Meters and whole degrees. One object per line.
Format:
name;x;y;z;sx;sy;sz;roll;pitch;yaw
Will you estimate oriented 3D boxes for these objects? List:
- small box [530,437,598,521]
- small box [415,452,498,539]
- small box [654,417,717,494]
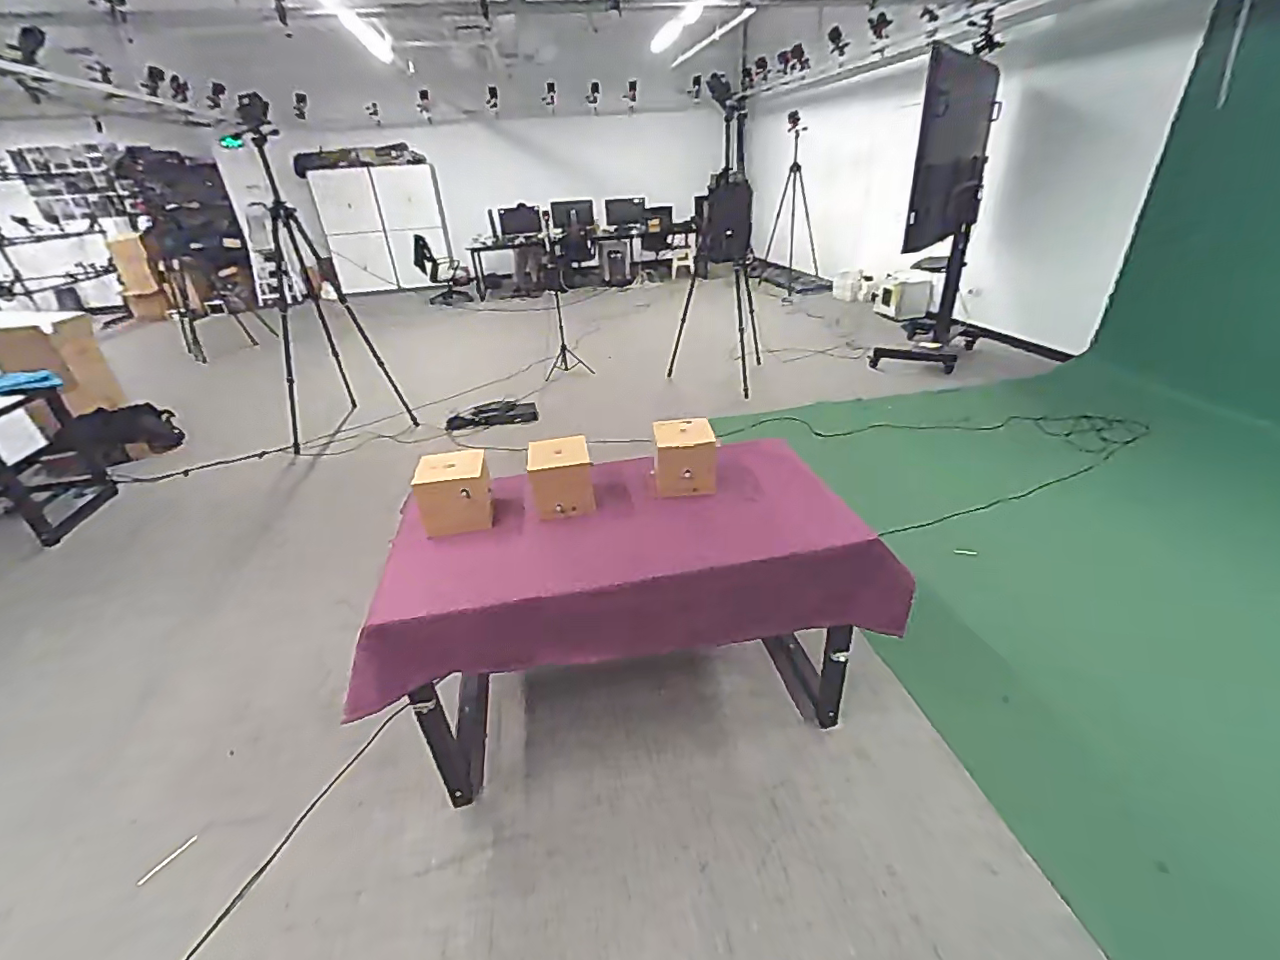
small box;-0.214;-0.004;1.533;0.168;0.176;0.179;-9;30;-5
small box;-0.495;0.042;1.492;0.179;0.176;0.168;-8;30;-6
small box;0.133;-0.068;1.586;0.168;0.176;0.179;-5;30;-1
